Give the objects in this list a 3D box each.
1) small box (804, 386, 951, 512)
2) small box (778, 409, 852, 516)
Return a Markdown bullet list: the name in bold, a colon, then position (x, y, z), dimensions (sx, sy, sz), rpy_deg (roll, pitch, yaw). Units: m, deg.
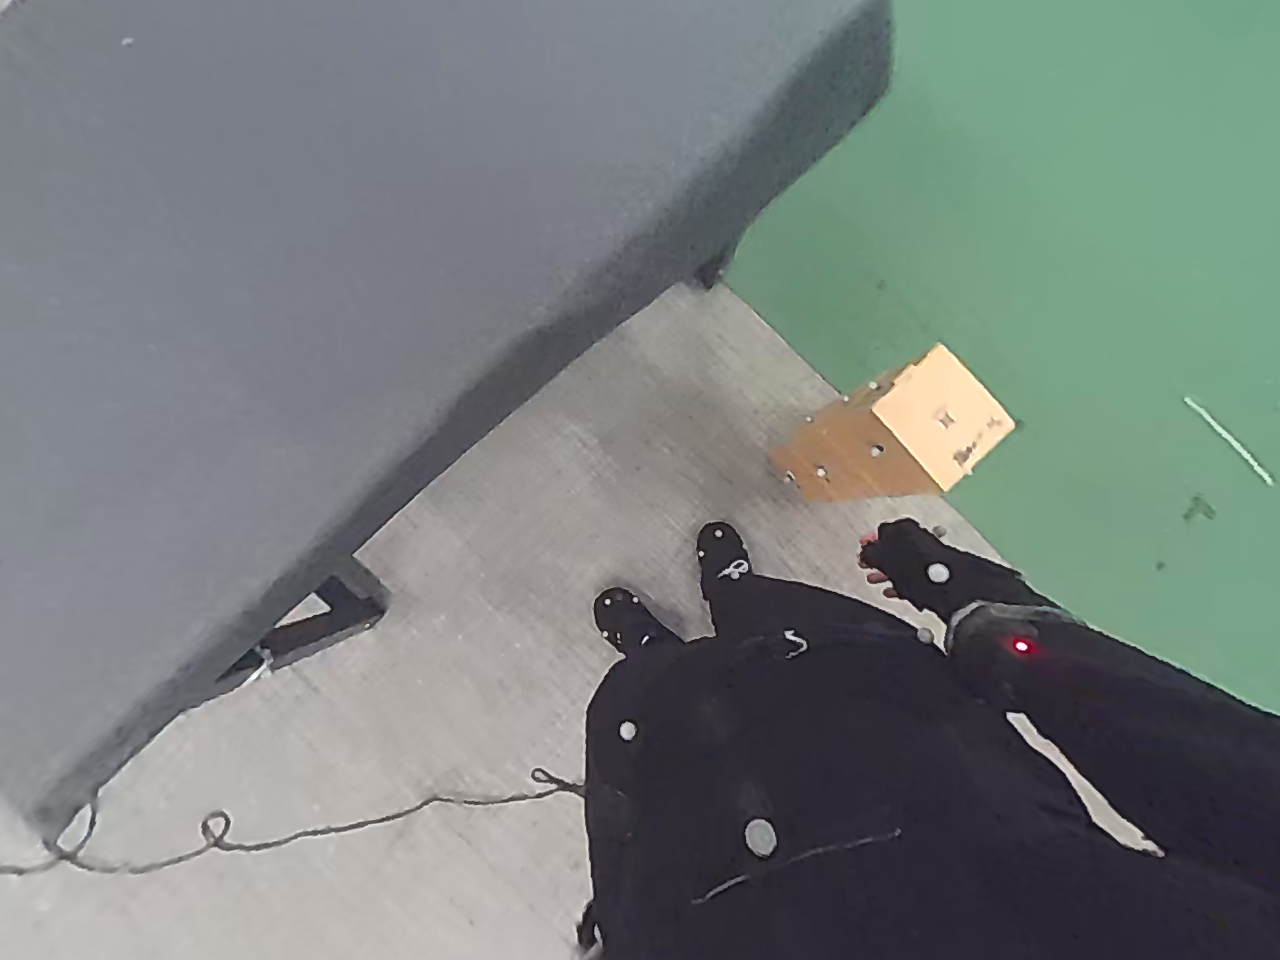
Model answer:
- **small box**: position (0.460, -0.054, 1.078), dimensions (0.179, 0.176, 0.168), rpy_deg (-41, 86, -6)
- **small box**: position (0.447, -0.033, 1.241), dimensions (0.179, 0.176, 0.168), rpy_deg (-42, 87, -5)
